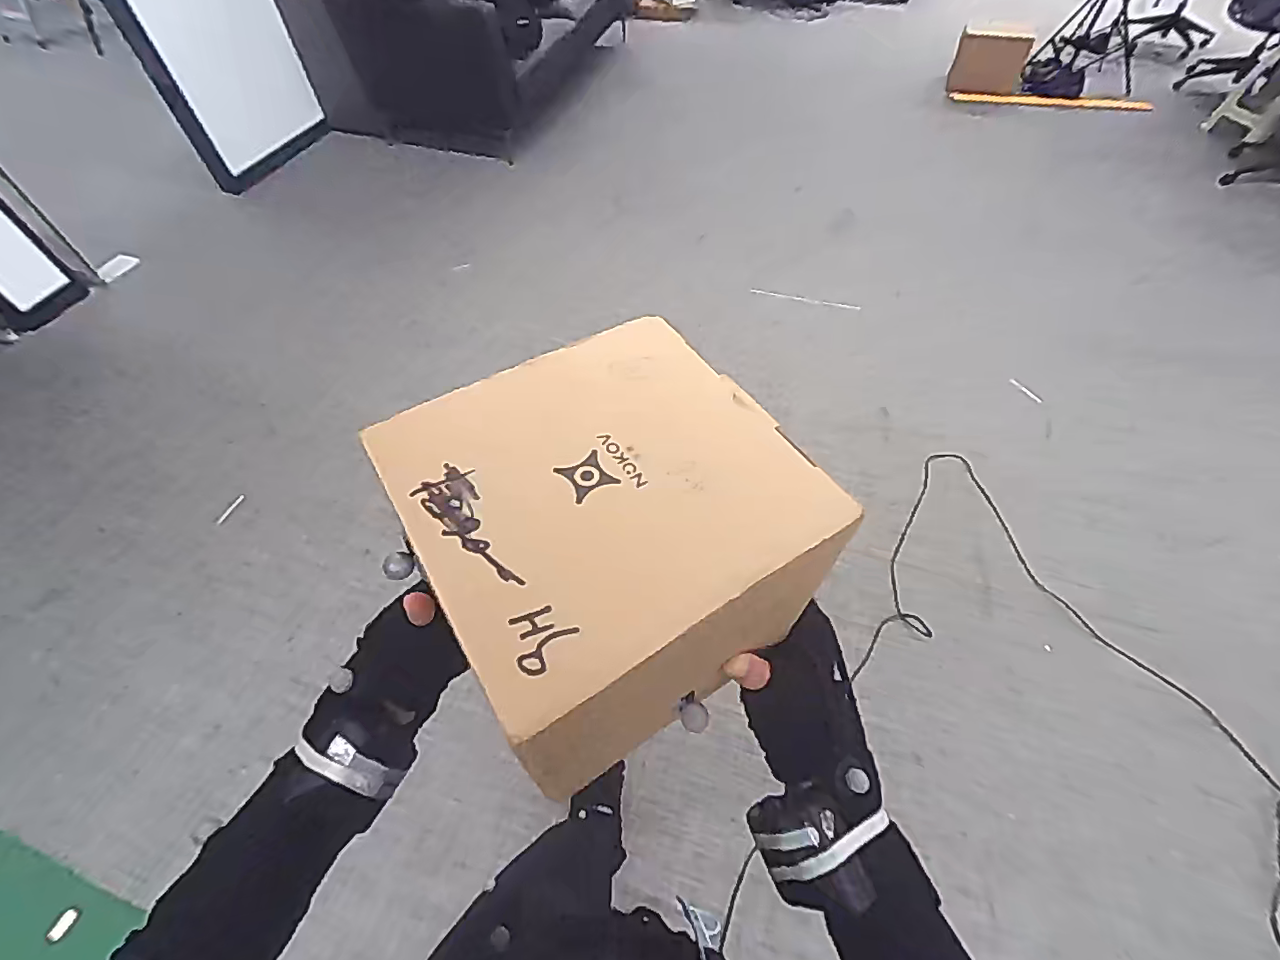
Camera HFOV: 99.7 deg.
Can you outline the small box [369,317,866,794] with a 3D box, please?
[{"bbox_3d":[-0.017,0.043,0.310,0.179,0.176,0.168,-27,58,-22],"label":"small box"}]
